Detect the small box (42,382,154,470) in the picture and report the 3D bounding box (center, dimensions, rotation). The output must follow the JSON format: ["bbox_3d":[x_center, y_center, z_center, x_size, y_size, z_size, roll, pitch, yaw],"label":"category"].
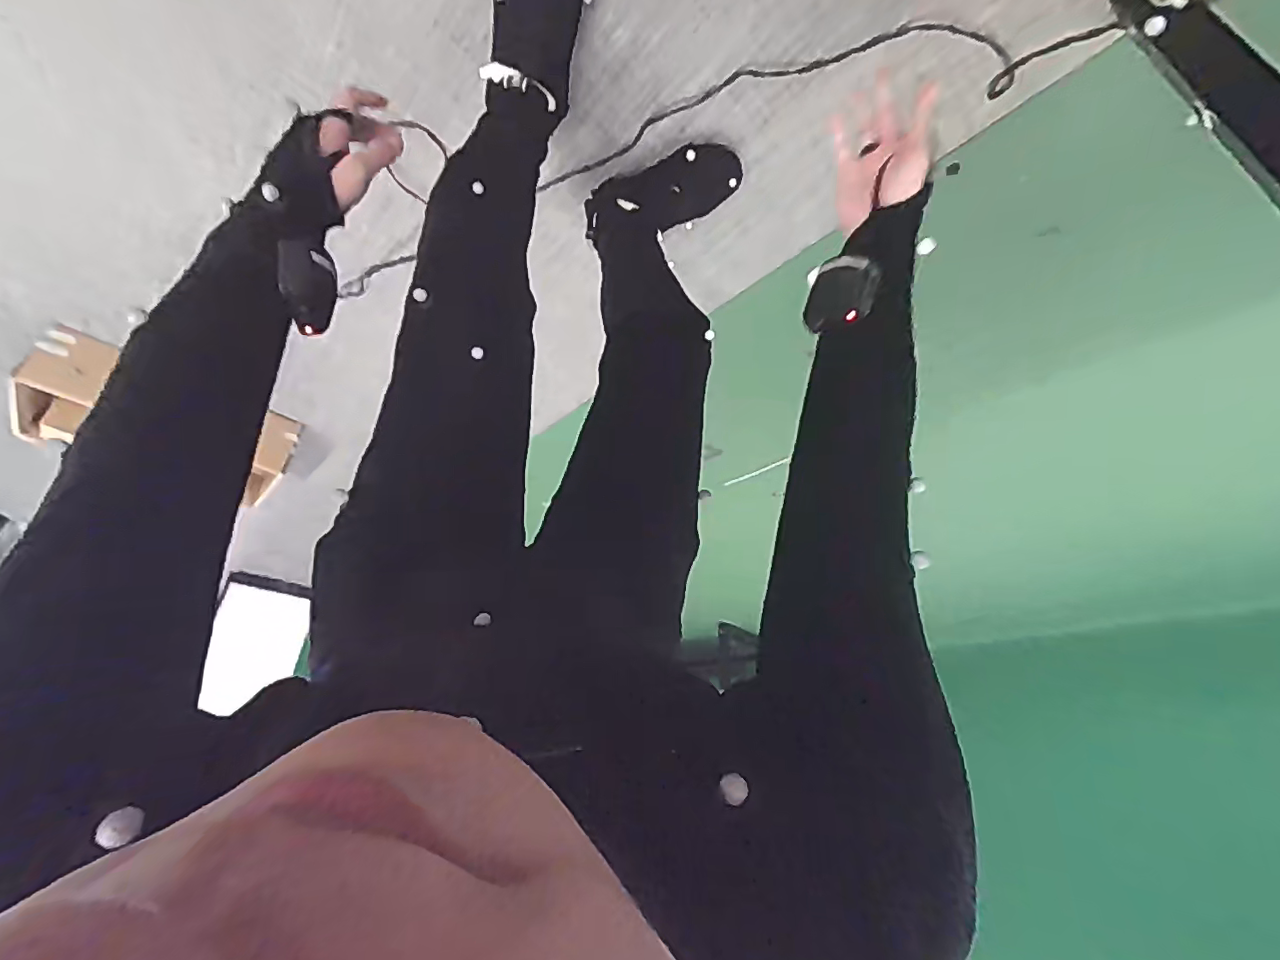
[{"bbox_3d":[-1.565,-0.160,1.570,0.179,0.176,0.168,24,144,-32],"label":"small box"}]
